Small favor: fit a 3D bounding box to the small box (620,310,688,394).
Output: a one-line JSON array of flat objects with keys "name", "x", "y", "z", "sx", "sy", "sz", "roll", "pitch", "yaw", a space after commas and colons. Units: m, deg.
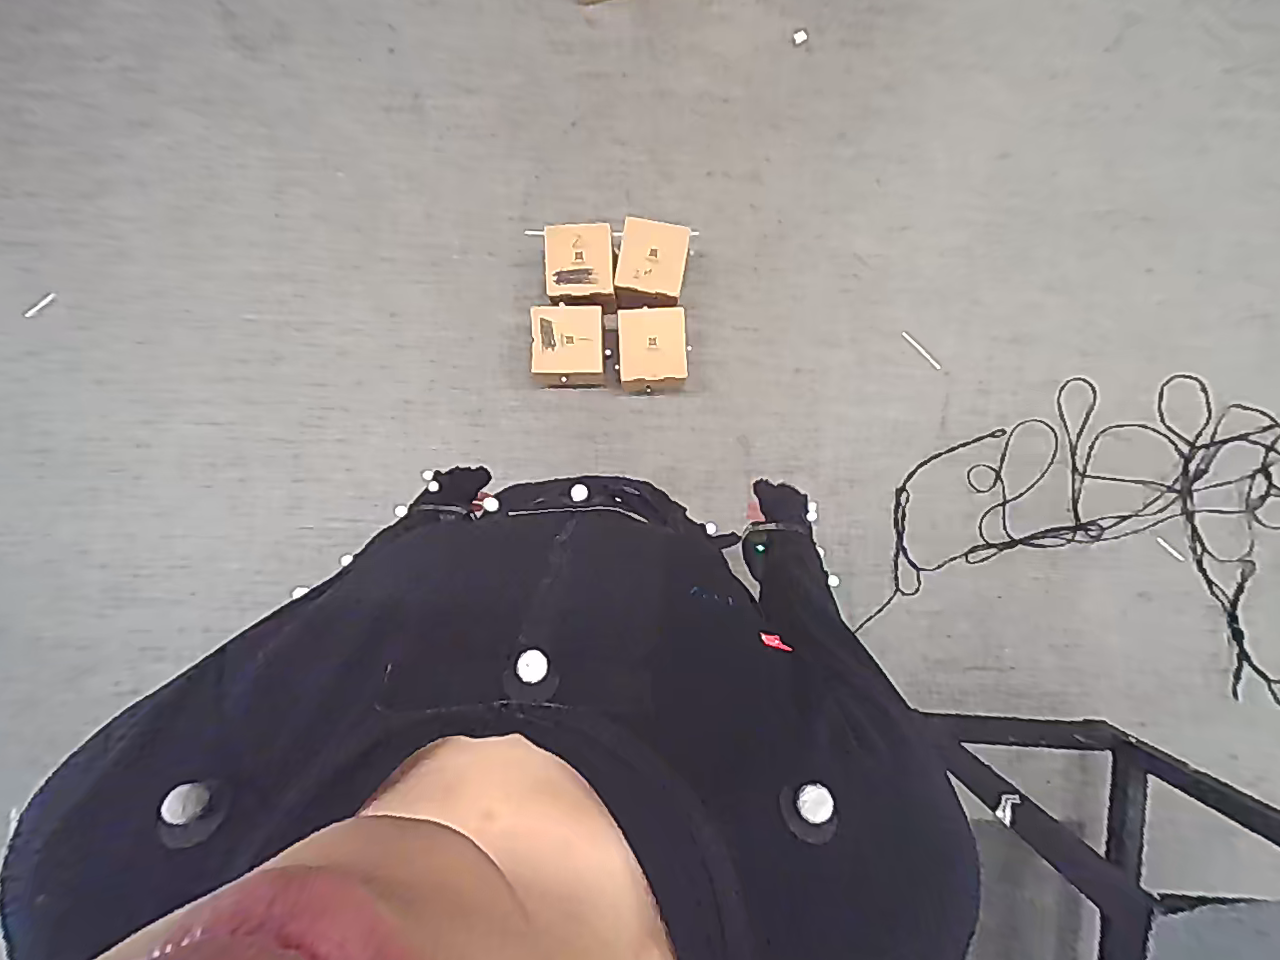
[{"name": "small box", "x": 0.032, "y": -0.326, "z": 1.401, "sx": 0.168, "sy": 0.176, "sz": 0.179, "roll": -3, "pitch": 91, "yaw": 0}]
